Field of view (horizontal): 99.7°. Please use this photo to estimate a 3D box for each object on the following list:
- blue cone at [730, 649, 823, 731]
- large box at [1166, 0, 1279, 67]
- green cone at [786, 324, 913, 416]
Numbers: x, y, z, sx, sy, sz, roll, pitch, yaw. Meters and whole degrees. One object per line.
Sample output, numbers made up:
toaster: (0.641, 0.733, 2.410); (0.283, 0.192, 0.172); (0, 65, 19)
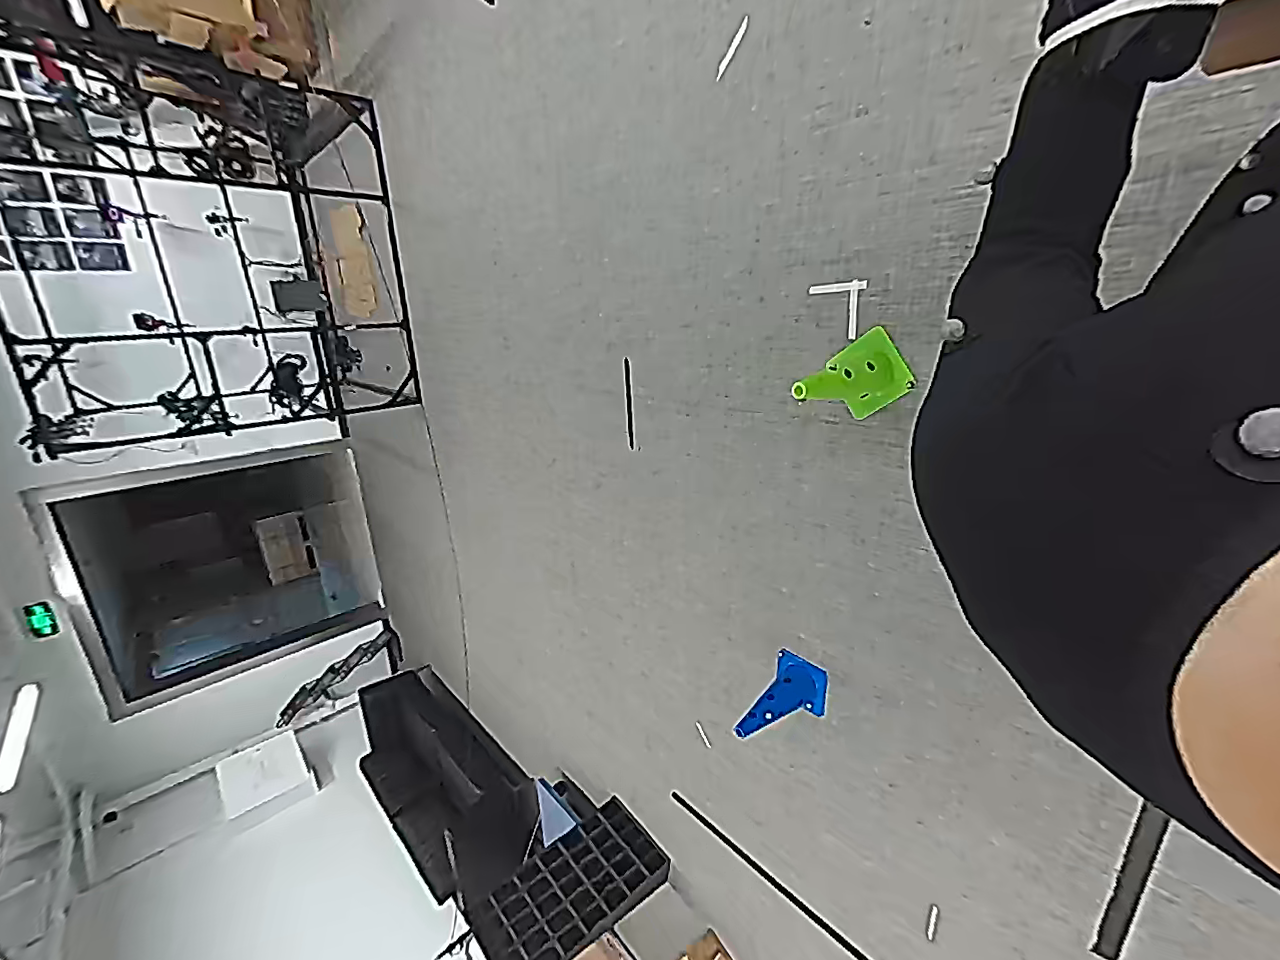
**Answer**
blue cone: (0.456, 0.767, 1.875); (0.192, 0.380, 0.193); (22, 119, 45)
large box: (0.562, -0.461, 0.252); (0.408, 0.320, 0.320); (17, 122, 44)
green cone: (0.506, -0.264, 1.409); (0.202, 0.368, 0.200); (-40, 72, 51)
